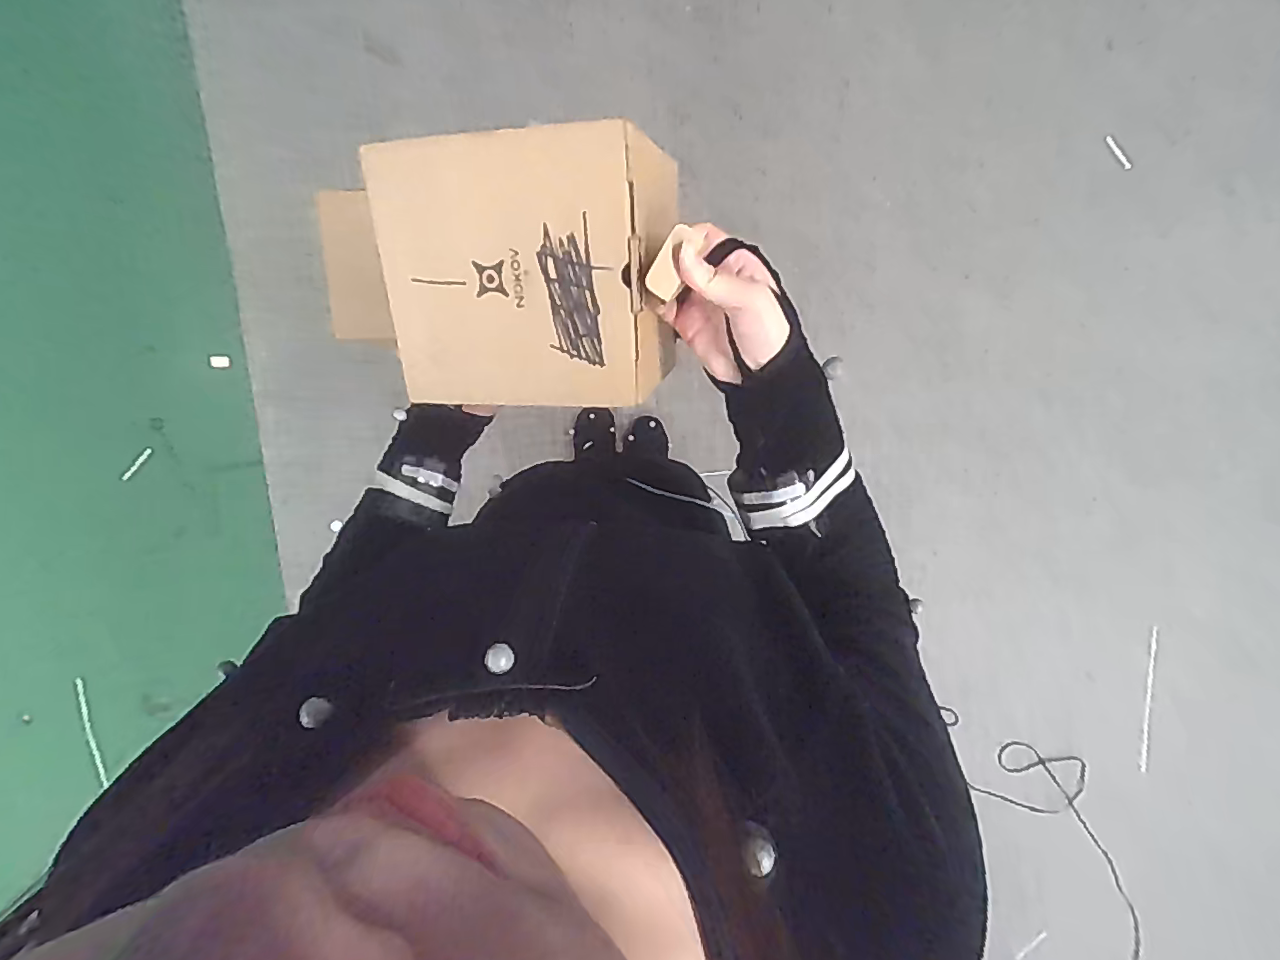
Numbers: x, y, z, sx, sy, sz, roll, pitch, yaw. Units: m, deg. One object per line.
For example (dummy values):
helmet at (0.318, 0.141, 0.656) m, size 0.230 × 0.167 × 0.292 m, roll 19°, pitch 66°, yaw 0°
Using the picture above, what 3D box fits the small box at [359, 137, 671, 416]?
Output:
small box at (-0.072, -0.154, 0.419) m, size 0.179 × 0.176 × 0.168 m, roll 4°, pitch 113°, yaw 12°

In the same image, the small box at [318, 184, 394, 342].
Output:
small box at (-0.301, -0.279, 0.733) m, size 0.168 × 0.176 × 0.179 m, roll -1°, pitch 100°, yaw -2°
